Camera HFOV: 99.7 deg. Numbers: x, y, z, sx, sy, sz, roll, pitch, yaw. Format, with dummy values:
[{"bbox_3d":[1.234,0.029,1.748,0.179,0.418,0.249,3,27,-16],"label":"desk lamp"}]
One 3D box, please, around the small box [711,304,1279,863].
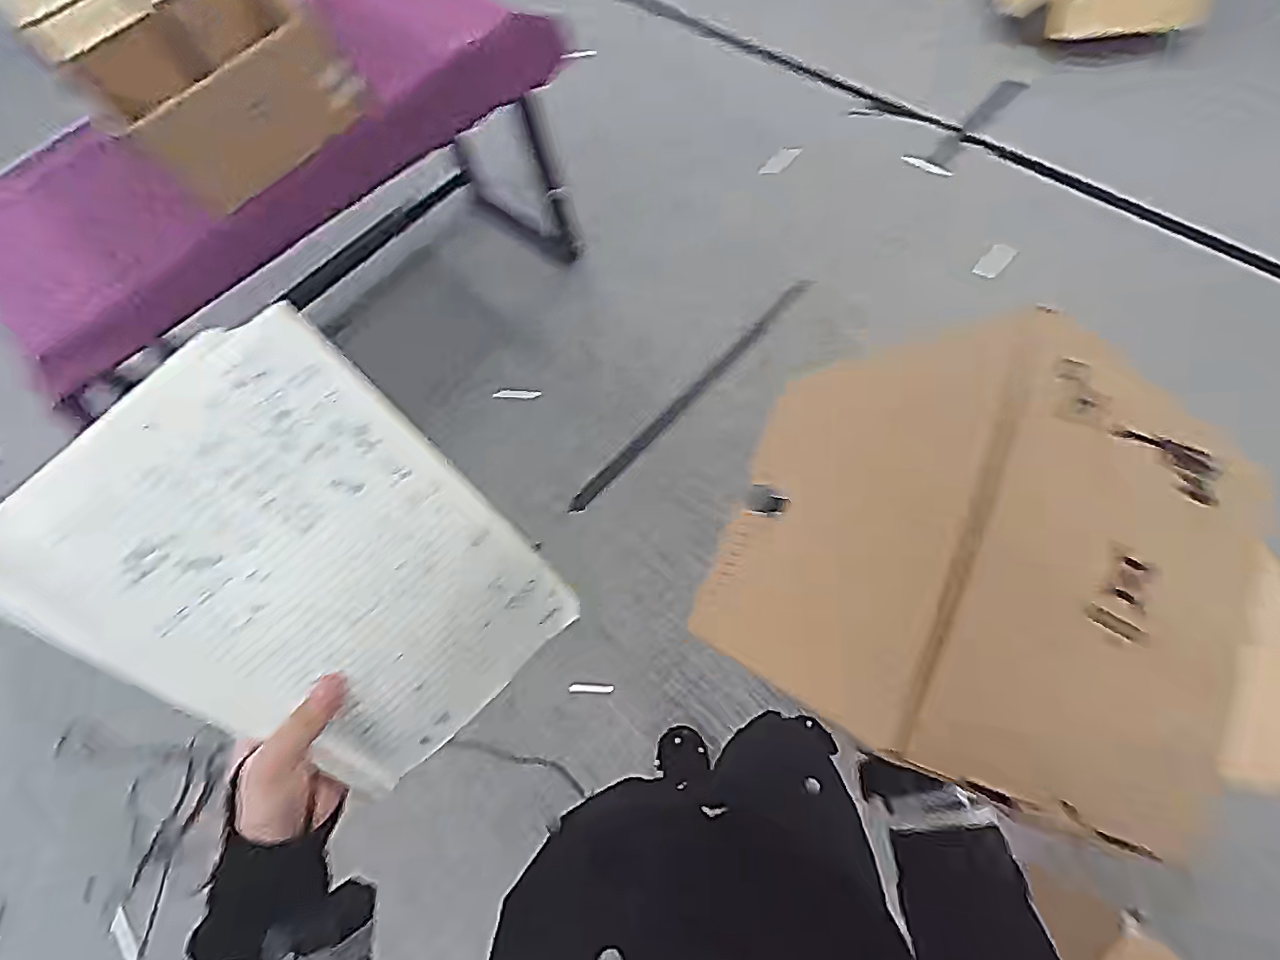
[{"bbox_3d":[0.159,0.046,0.286,0.168,0.176,0.179,26,82,-17],"label":"small box"}]
